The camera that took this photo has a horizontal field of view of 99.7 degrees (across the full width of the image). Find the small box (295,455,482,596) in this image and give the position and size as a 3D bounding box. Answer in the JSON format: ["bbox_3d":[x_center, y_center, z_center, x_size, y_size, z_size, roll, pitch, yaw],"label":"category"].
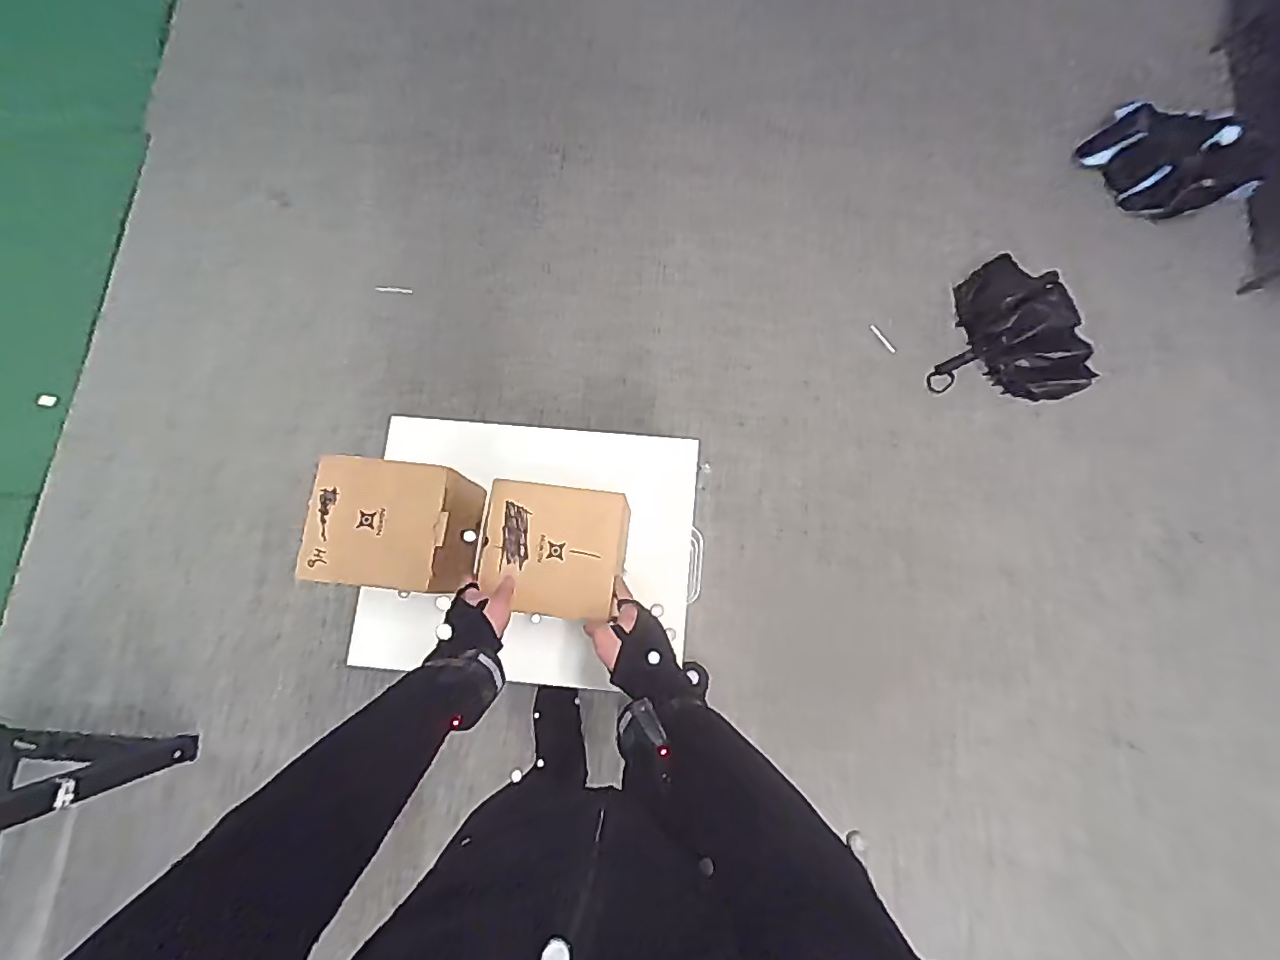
[{"bbox_3d":[-0.338,0.070,0.768,0.179,0.176,0.168,6,79,1],"label":"small box"}]

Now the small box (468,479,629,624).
[{"bbox_3d":[-0.114,0.103,0.754,0.179,0.176,0.168,7,79,3],"label":"small box"}]
